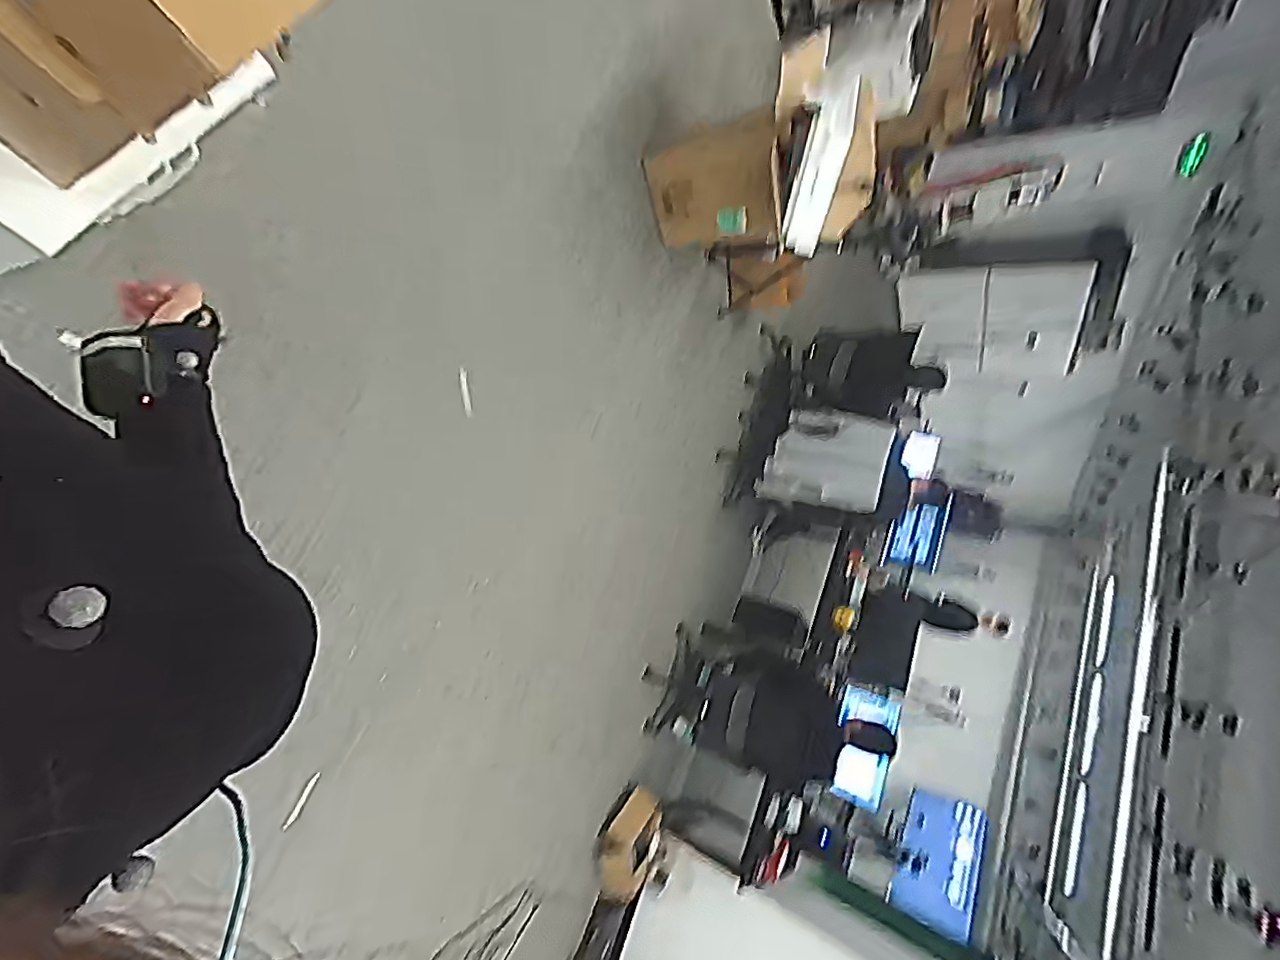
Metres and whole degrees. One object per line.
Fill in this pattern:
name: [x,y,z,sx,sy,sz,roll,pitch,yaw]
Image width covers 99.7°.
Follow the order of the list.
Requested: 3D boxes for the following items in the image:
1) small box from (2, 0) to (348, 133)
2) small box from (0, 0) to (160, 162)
small box: [-0.339,-0.386,0.380,0.168,0.176,0.179,51,58,-48]
small box: [-0.471,-0.413,0.470,0.168,0.176,0.179,51,57,-48]
